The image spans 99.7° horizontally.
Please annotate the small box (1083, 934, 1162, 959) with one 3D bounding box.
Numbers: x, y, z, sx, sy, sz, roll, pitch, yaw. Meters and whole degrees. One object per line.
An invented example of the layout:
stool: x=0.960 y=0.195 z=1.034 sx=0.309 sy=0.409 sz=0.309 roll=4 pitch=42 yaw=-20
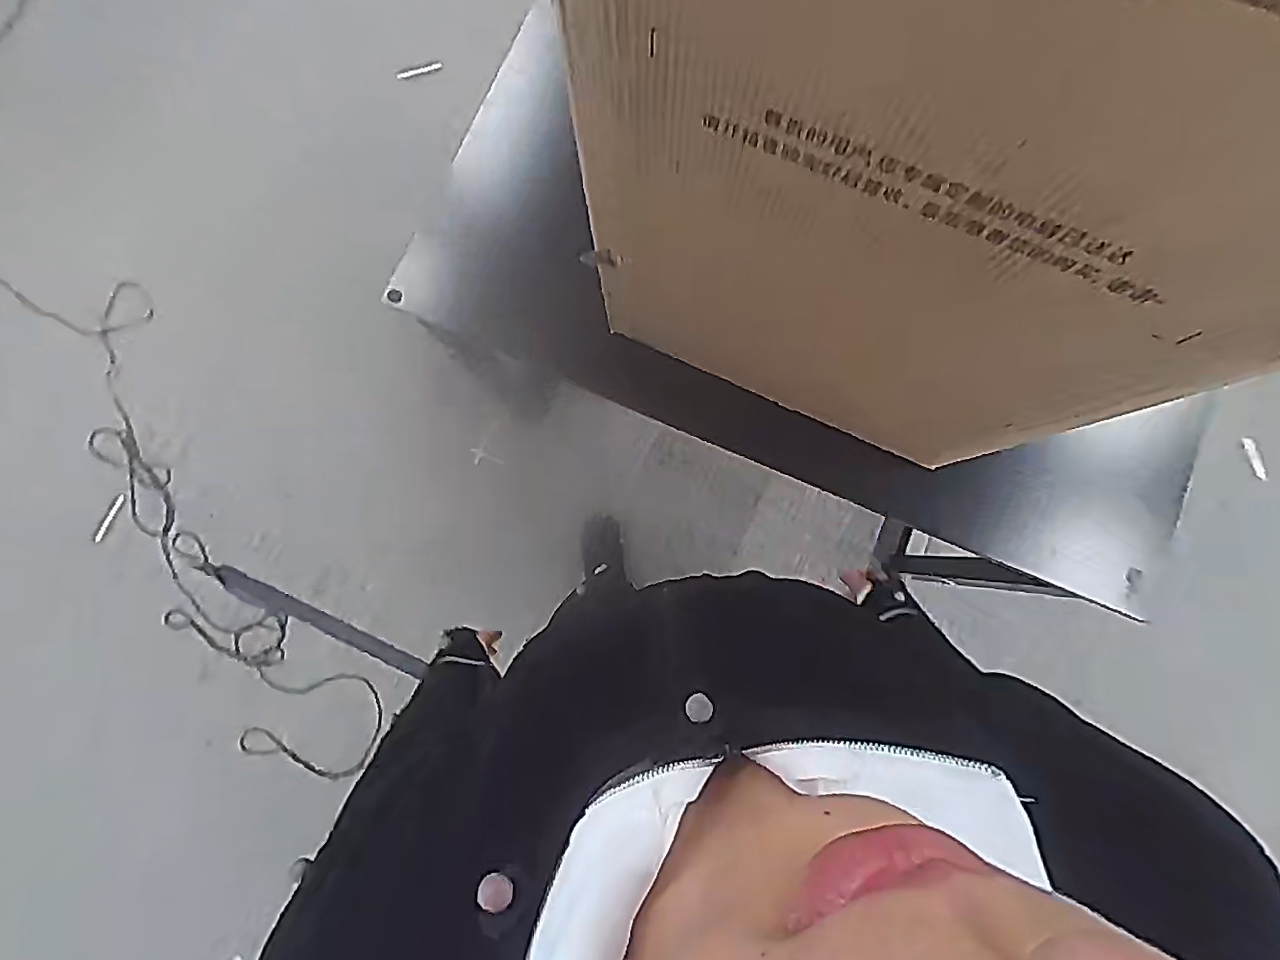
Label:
small box: x=1.193 y=1.231 z=1.275 sx=0.179 sy=0.176 sz=0.168 roll=16 pitch=83 yaw=4
